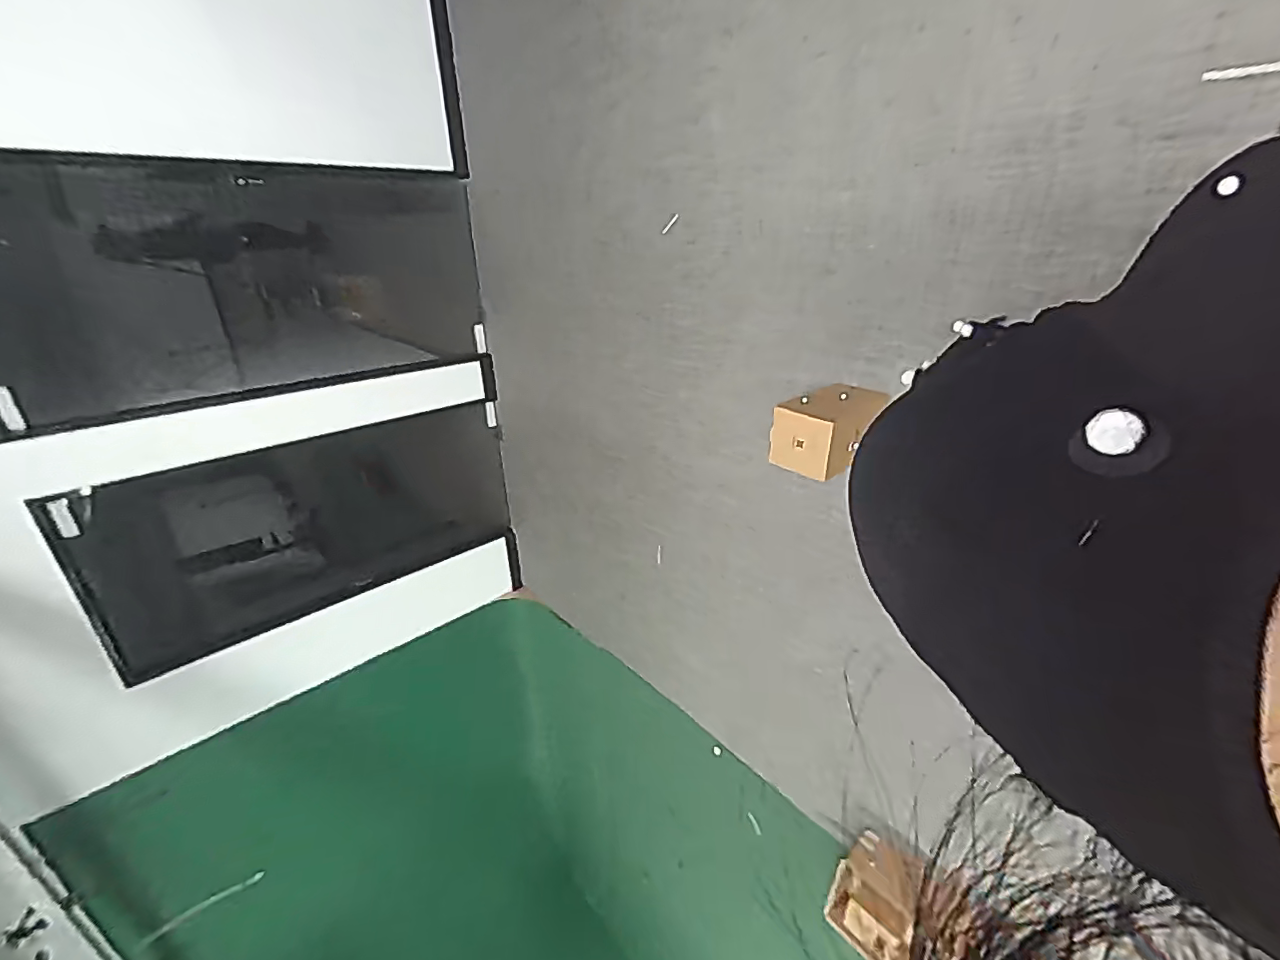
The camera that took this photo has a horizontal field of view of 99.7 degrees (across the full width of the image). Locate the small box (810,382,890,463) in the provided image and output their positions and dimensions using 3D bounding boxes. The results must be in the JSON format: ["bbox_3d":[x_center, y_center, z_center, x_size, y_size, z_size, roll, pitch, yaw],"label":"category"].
[{"bbox_3d":[0.597,-0.172,1.563,0.168,0.176,0.179,26,126,42],"label":"small box"}]

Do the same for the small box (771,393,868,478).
[{"bbox_3d":[0.482,-0.128,1.456,0.179,0.176,0.168,25,126,42],"label":"small box"}]
